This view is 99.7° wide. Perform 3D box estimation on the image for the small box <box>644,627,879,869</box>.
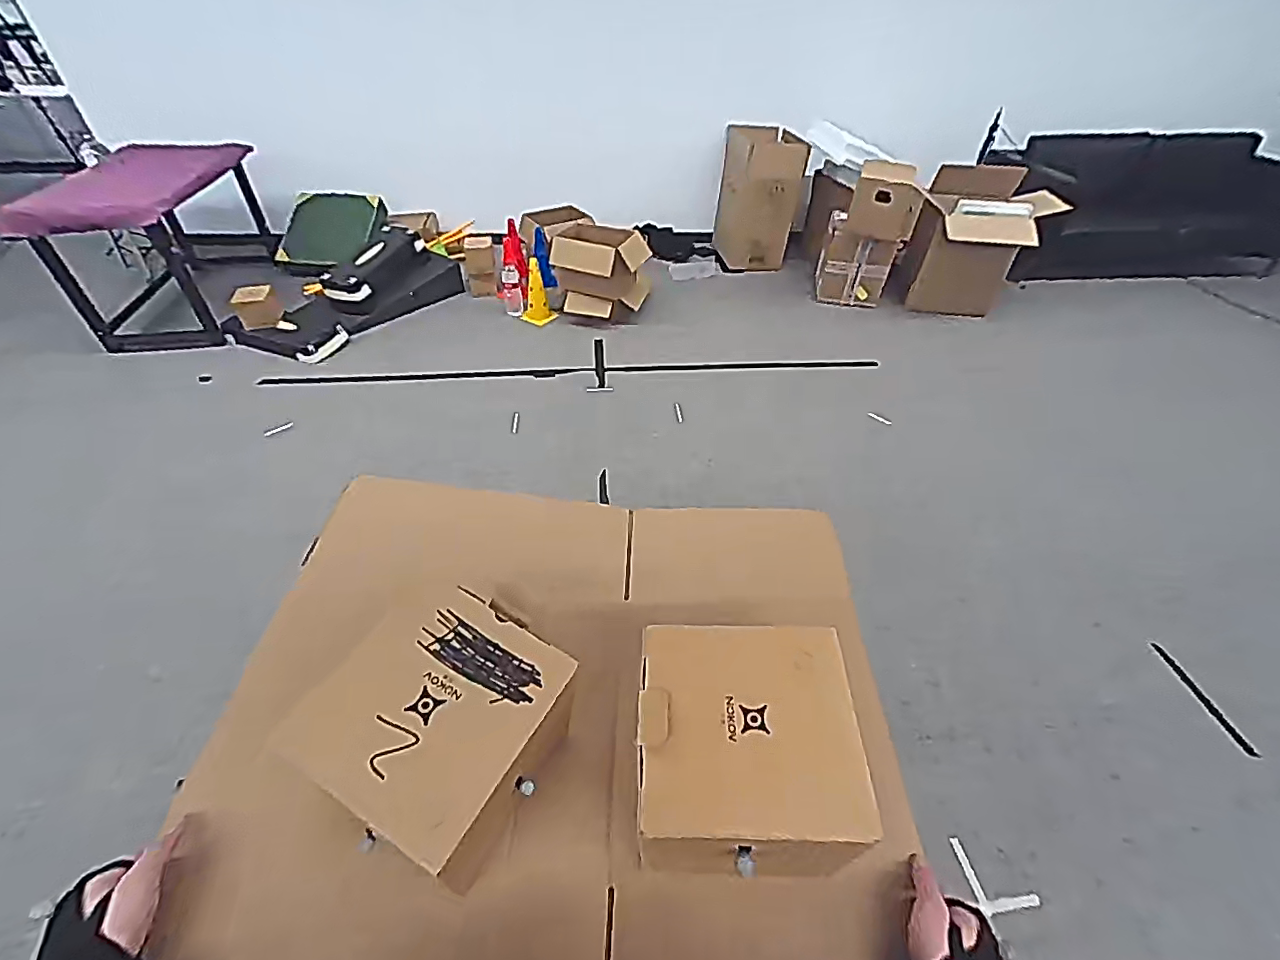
[{"bbox_3d":[0.095,0.254,0.511,0.179,0.176,0.168,-1,47,3],"label":"small box"}]
